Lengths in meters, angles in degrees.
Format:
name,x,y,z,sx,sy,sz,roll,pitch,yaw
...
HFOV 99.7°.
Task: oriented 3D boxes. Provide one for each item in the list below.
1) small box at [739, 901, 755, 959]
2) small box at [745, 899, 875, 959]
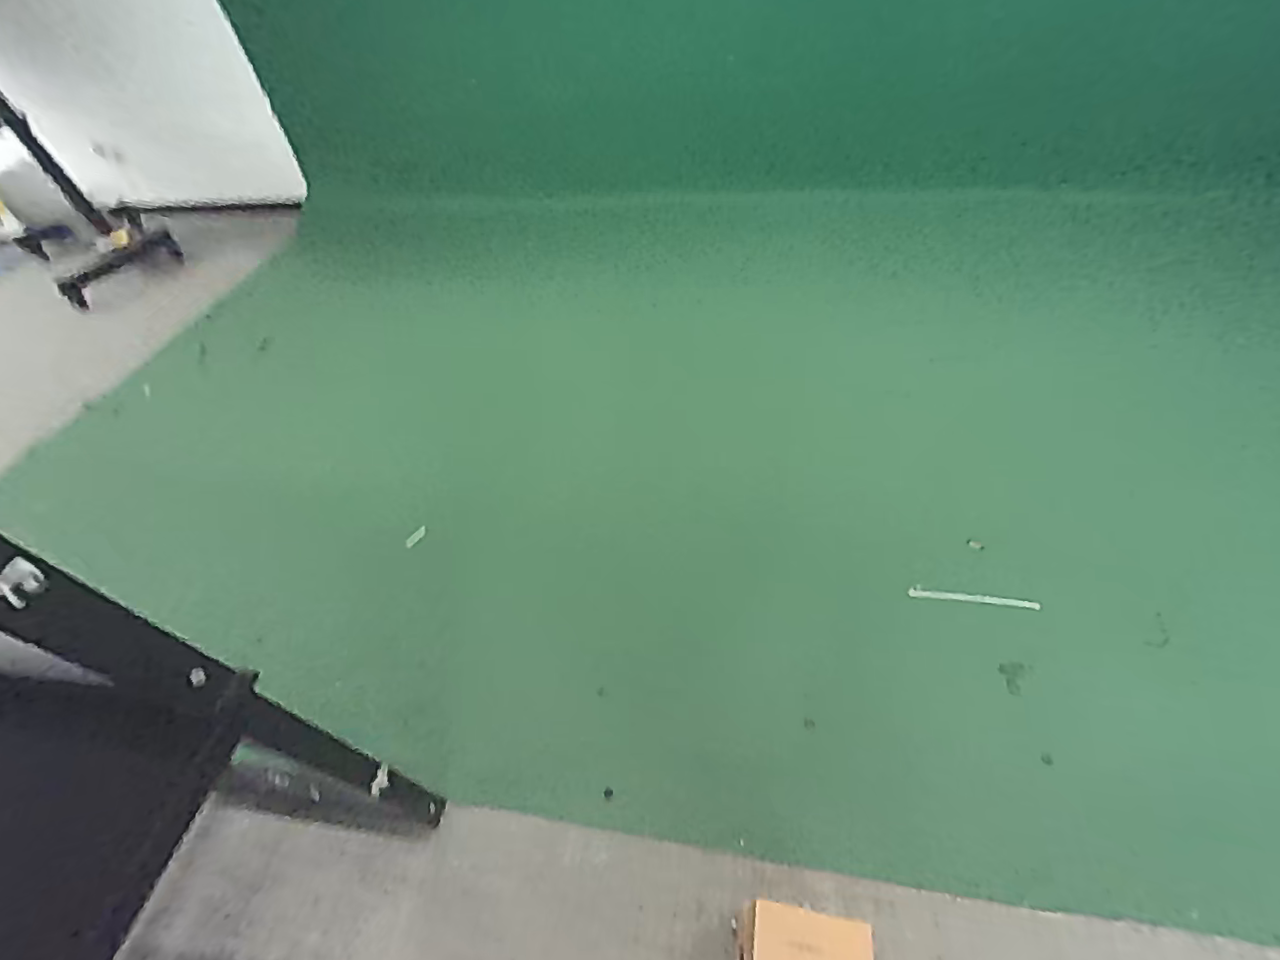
name,x,y,z,sx,sy,sz,roll,pitch,yaw
small box,0.257,0.841,0.915,0.179,0.176,0.168,7,51,10
small box,0.241,0.743,0.789,0.168,0.176,0.179,6,50,10
